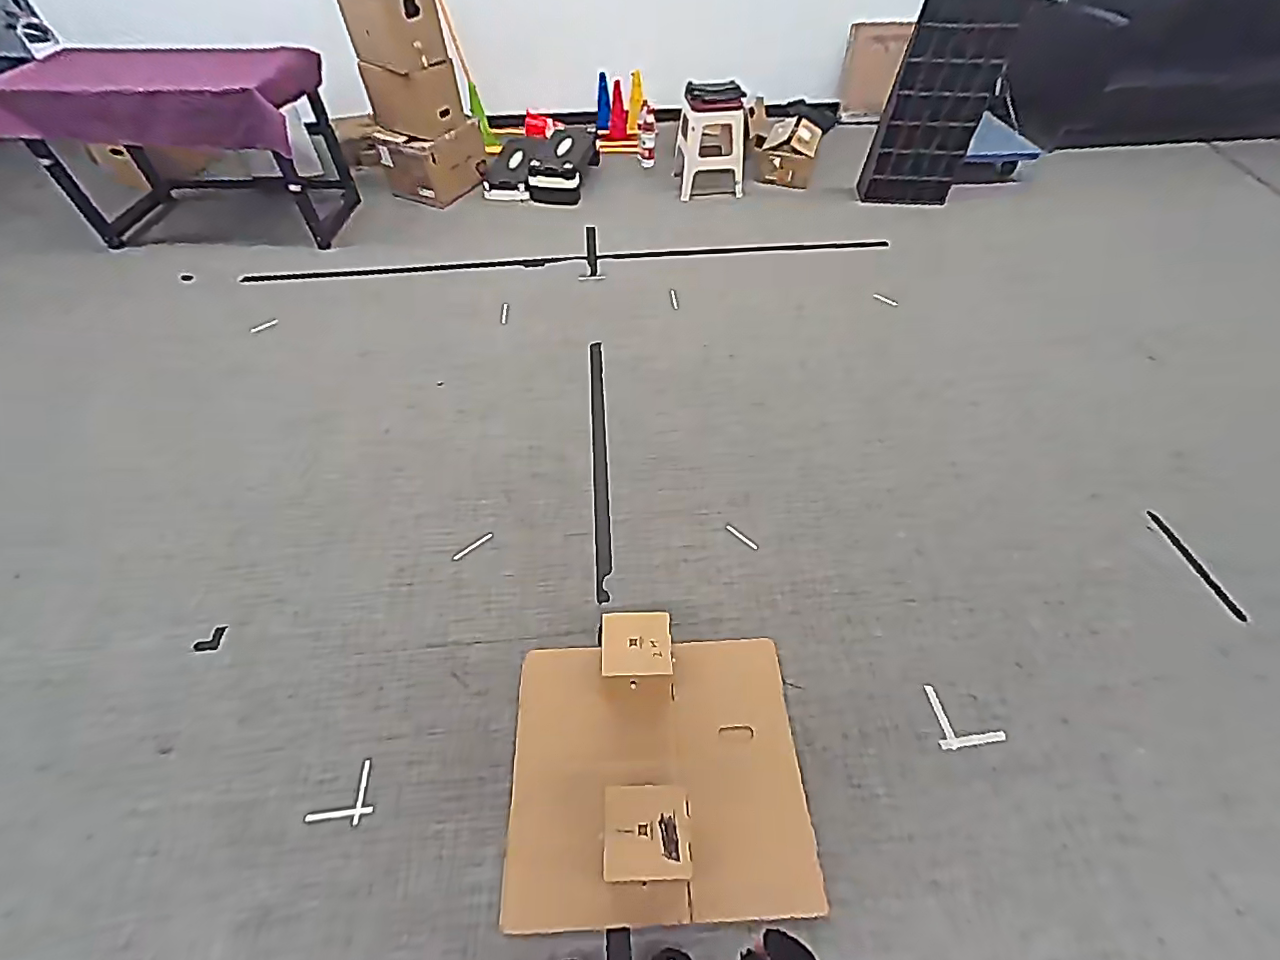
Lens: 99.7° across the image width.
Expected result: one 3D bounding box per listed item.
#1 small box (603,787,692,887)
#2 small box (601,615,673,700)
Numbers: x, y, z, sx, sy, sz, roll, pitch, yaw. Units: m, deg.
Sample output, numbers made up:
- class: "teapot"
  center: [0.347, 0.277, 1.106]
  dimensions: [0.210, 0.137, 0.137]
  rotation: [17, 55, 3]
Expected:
- class: "small box"
  center: [0.012, 0.768, 1.162]
  dimensions: [0.179, 0.176, 0.168]
  rotation: [-1, 51, -1]
- class: "small box"
  center: [-0.007, 0.466, 1.410]
  dimensions: [0.179, 0.176, 0.168]
  rotation: [0, 50, -1]
